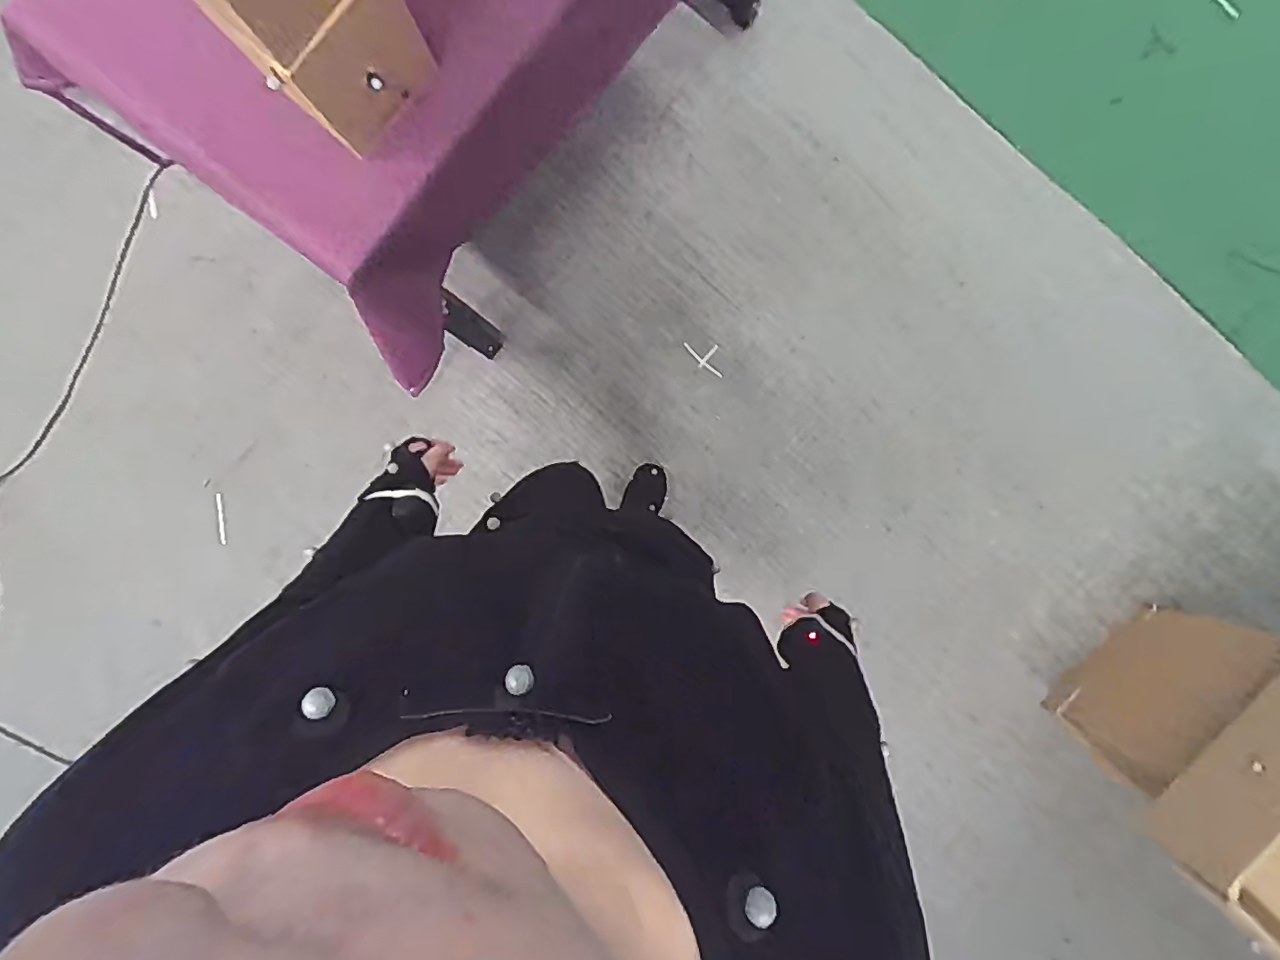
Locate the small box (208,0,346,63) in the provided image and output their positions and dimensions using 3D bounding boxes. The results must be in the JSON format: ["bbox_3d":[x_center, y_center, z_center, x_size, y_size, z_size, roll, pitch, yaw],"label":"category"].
[{"bbox_3d":[-0.387,-0.556,0.504,0.168,0.176,0.179,40,91,-2],"label":"small box"}]

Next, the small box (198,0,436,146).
[{"bbox_3d":[-0.389,-0.557,0.667,0.179,0.176,0.168,42,91,-1],"label":"small box"}]
